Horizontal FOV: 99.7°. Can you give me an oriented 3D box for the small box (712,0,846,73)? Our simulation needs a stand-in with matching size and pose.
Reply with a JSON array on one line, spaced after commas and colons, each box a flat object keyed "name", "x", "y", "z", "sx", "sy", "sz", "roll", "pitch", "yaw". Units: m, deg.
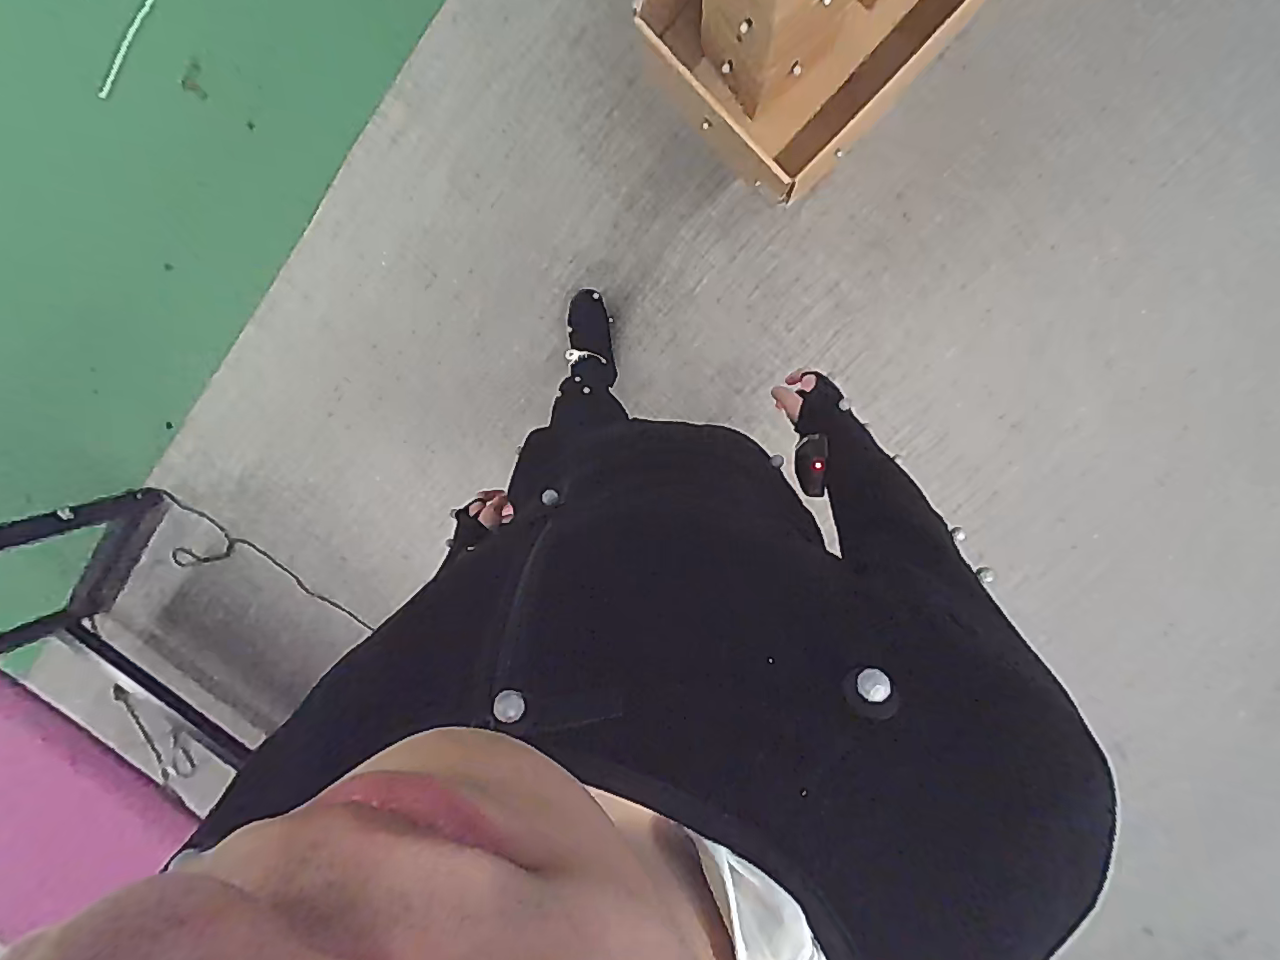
[{"name": "small box", "x": 0.201, "y": -0.730, "z": 0.755, "sx": 0.179, "sy": 0.176, "sz": 0.168, "roll": -35, "pitch": 98, "yaw": 10}]
